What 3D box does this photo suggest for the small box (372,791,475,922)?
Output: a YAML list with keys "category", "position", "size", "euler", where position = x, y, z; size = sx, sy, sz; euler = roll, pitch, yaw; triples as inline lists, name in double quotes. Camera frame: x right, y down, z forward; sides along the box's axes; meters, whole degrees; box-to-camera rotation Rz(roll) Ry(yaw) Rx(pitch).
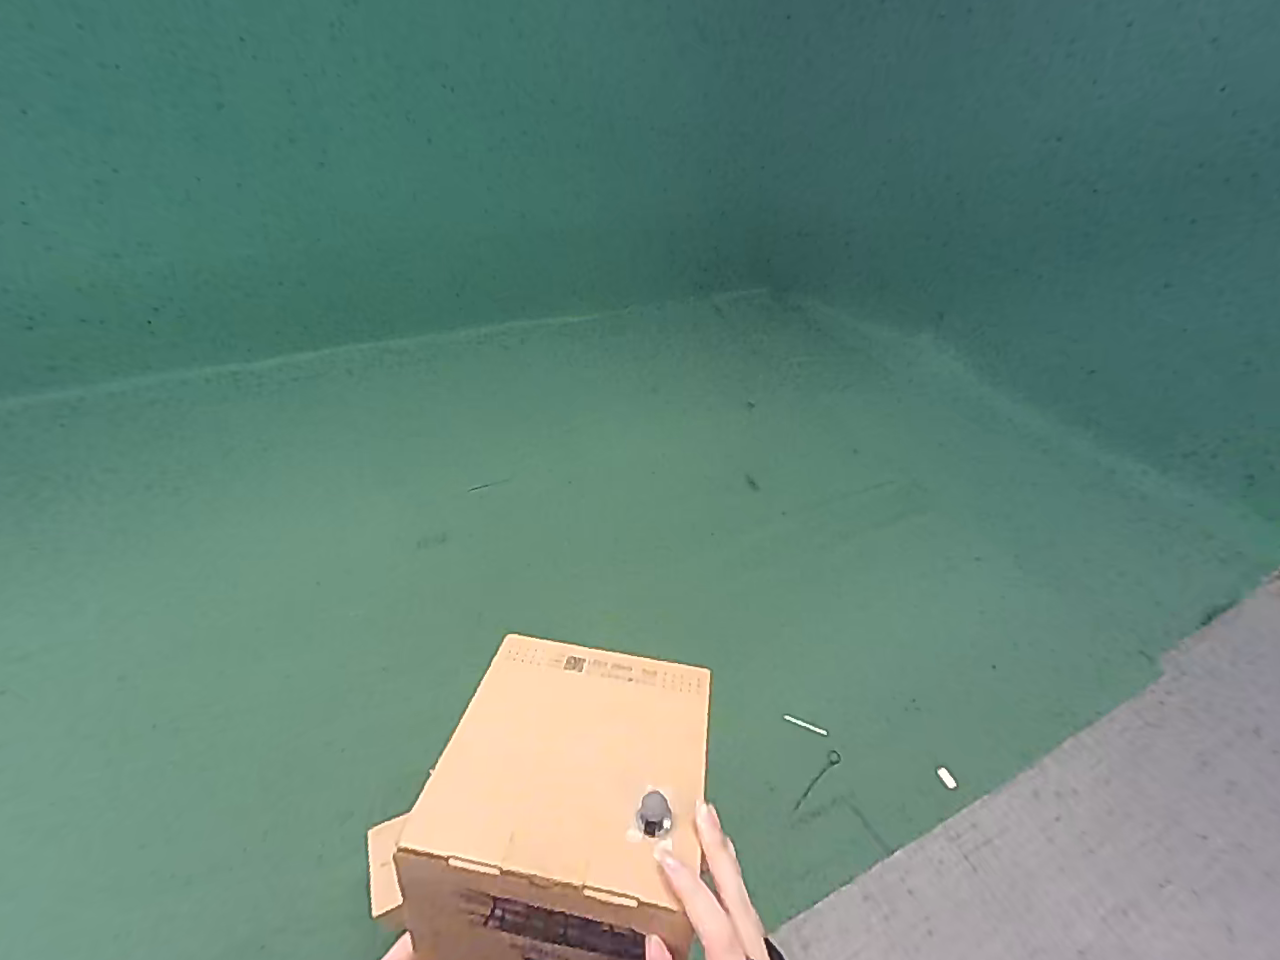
- category: "small box"
  position: [-0.471, 0.830, 1.194]
  size: [0.179, 0.176, 0.168]
  euler: [-16, 45, -18]
